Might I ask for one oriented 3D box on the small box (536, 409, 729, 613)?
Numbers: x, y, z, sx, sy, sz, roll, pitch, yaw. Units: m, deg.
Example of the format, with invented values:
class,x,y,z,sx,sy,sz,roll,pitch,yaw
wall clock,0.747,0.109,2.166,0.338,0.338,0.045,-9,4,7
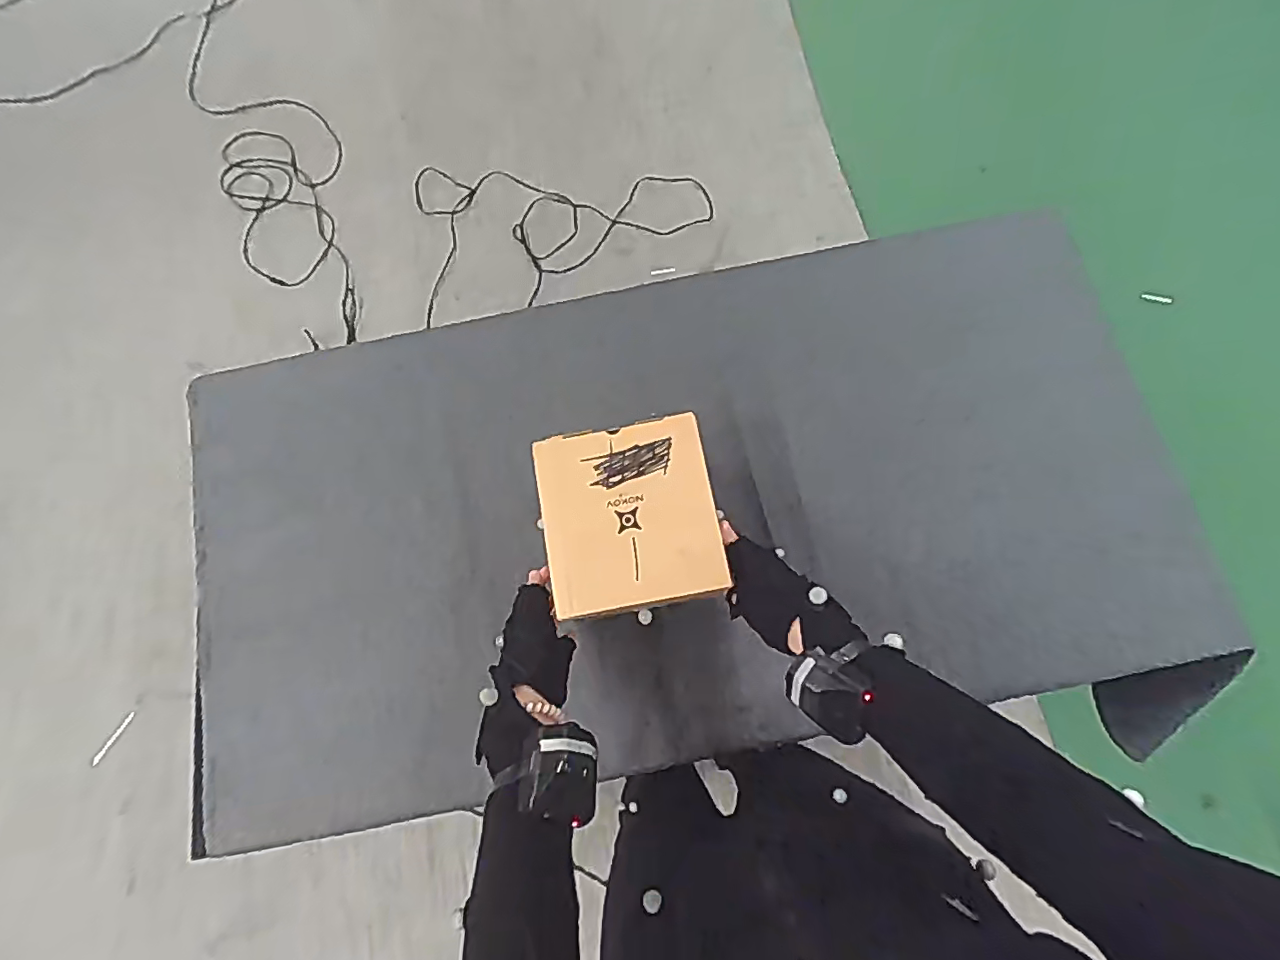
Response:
class,x,y,z,sx,sy,sz,roll,pitch,yaw
small box,-0.008,0.045,0.593,0.168,0.176,0.179,-10,75,1
